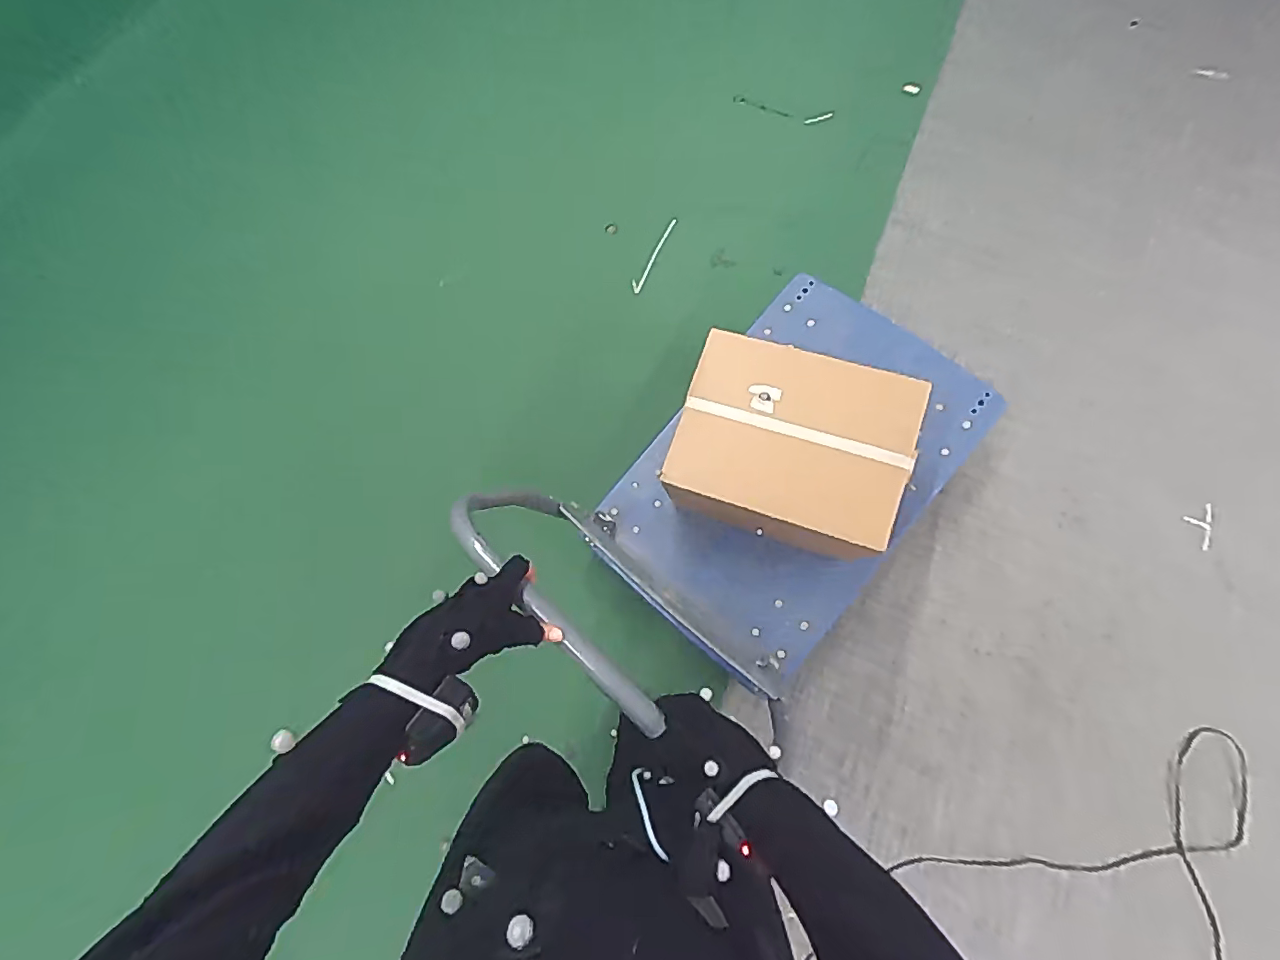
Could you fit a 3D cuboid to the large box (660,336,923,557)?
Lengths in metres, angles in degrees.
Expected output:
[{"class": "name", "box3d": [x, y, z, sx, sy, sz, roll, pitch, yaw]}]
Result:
[{"class": "large box", "box3d": [0.297, -0.052, 1.118, 0.408, 0.320, 0.320, 18, 81, 14]}]
